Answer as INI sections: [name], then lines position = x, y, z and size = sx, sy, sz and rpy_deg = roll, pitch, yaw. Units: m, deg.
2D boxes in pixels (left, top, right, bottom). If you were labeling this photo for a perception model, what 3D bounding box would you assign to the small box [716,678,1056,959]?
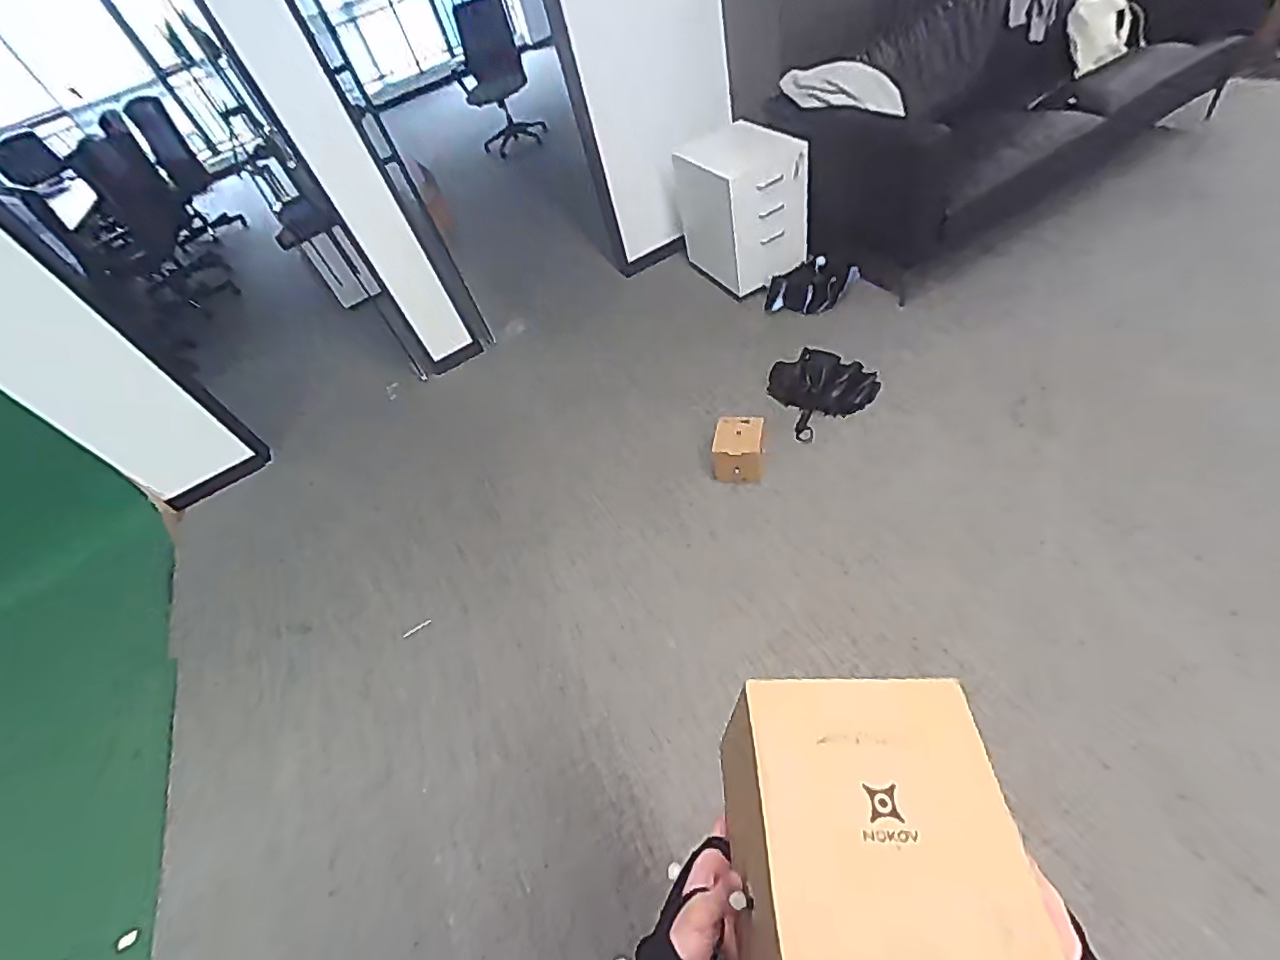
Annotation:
[small box]
position = 0.155, 0.270, 0.417
size = 0.168, 0.176, 0.179
rpy_deg = 0, 48, -1
